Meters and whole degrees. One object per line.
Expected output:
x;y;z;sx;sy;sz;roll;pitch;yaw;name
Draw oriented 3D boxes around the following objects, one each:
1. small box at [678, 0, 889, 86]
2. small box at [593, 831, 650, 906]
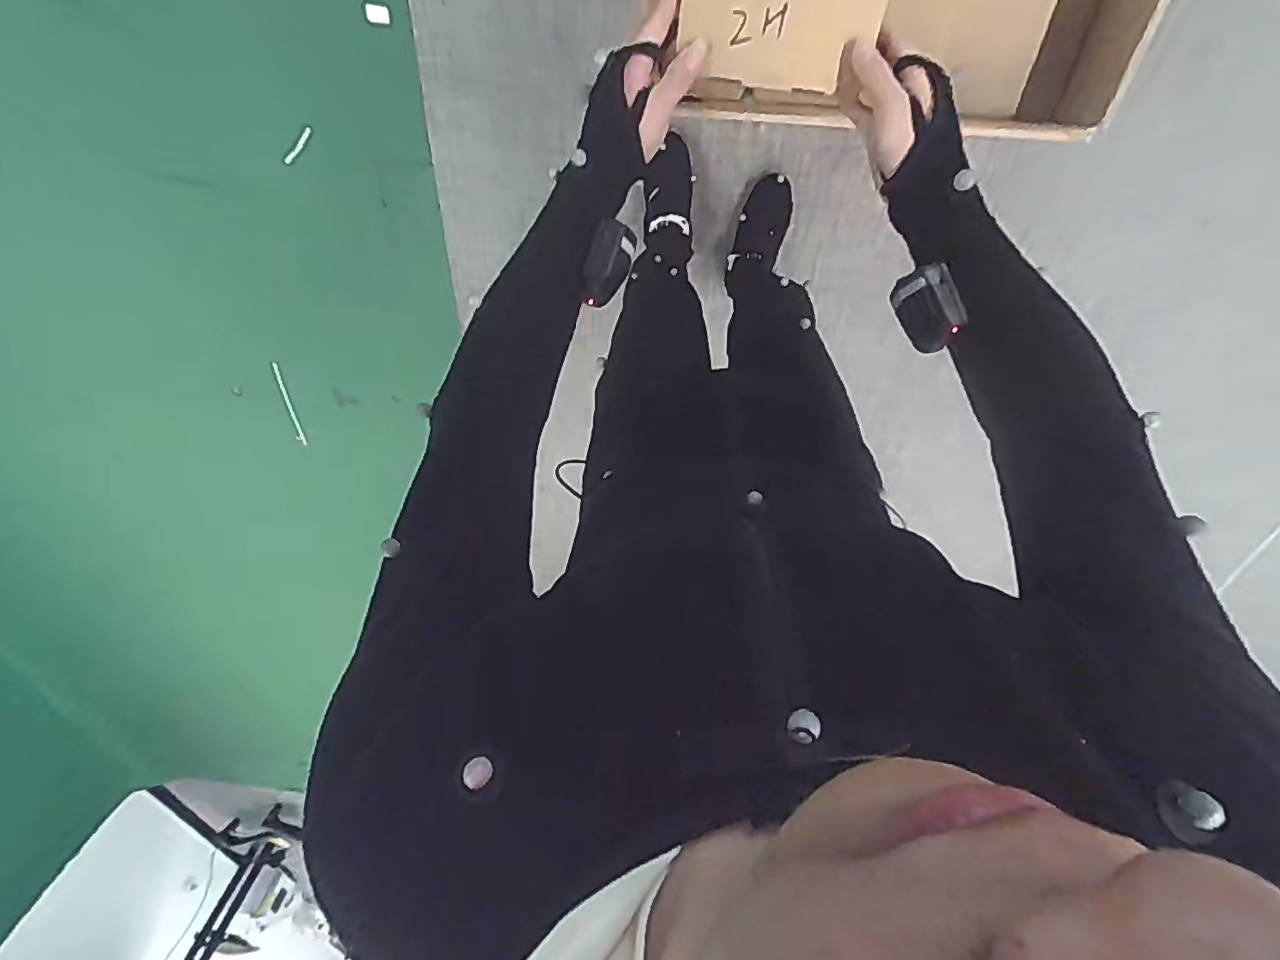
0.127;-0.467;0.476;0.168;0.176;0.179;8;126;-2;small box
-0.057;1.266;1.780;0.168;0.176;0.179;4;126;4;small box
